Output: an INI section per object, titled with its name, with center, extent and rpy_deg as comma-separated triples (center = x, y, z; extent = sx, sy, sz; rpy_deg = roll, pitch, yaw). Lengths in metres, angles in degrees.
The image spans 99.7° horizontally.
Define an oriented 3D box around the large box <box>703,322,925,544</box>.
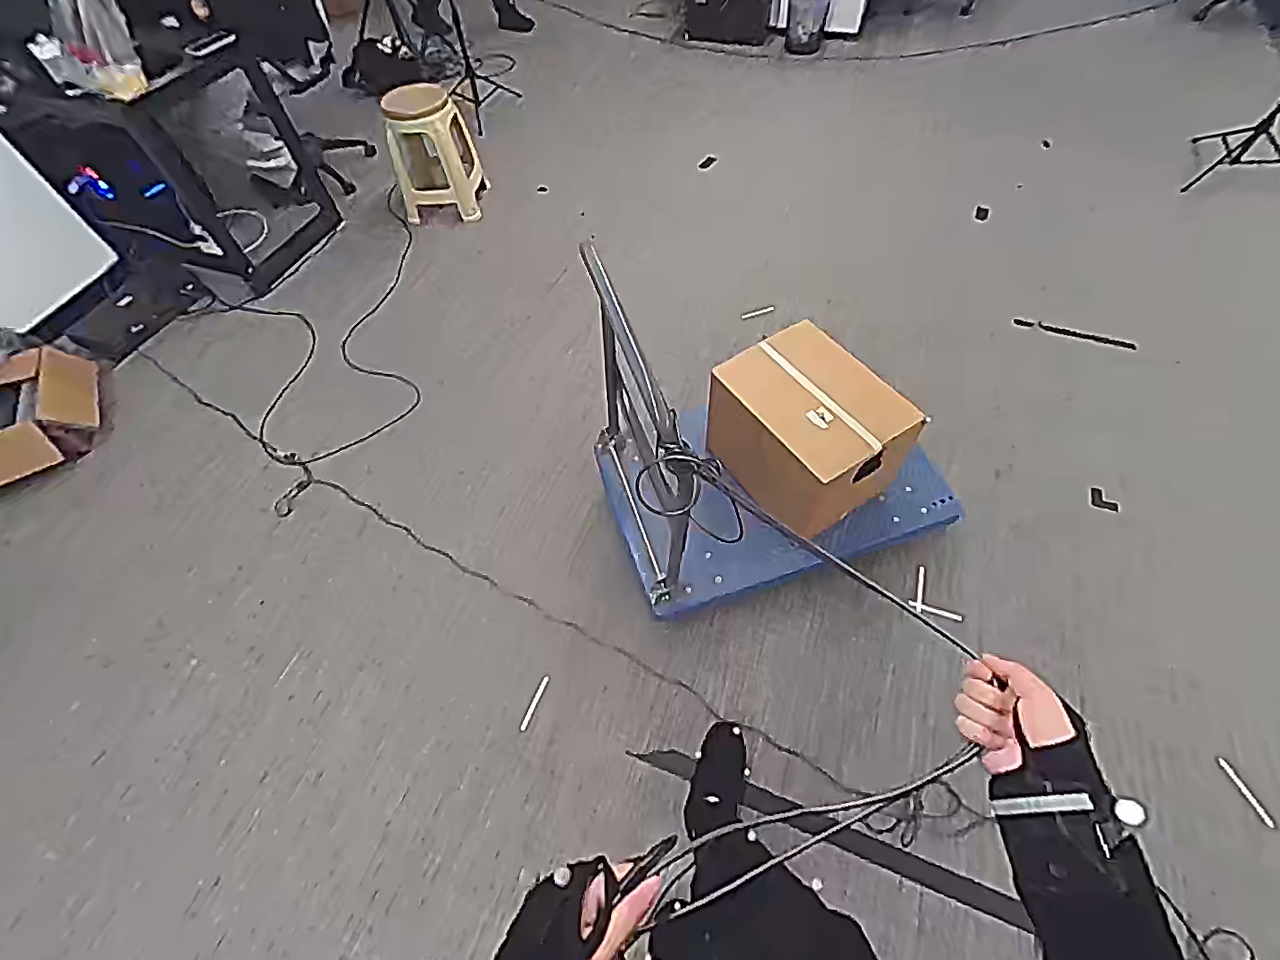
[large box]
center = 0.407, -0.119, 1.380
extent = 0.320, 0.320, 0.408
rpy_deg = -31, 62, -14
